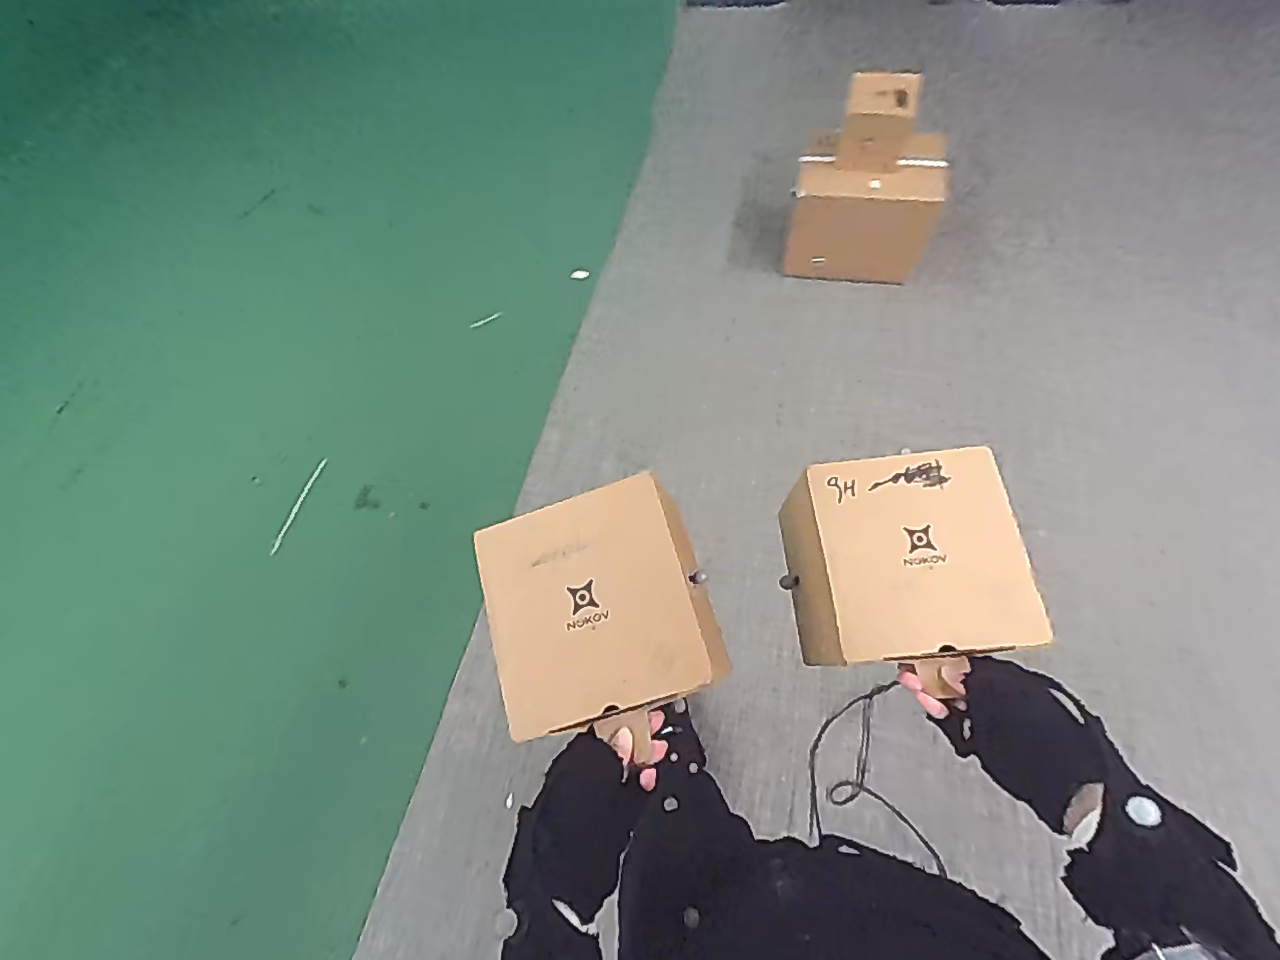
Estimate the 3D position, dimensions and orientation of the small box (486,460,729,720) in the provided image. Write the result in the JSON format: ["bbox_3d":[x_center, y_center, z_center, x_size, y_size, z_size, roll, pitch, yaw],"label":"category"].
[{"bbox_3d":[-0.020,0.107,0.515,0.168,0.176,0.179,-19,70,7],"label":"small box"}]

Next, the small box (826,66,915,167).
[{"bbox_3d":[0.644,-1.017,1.522,0.179,0.176,0.168,15,71,13],"label":"small box"}]
